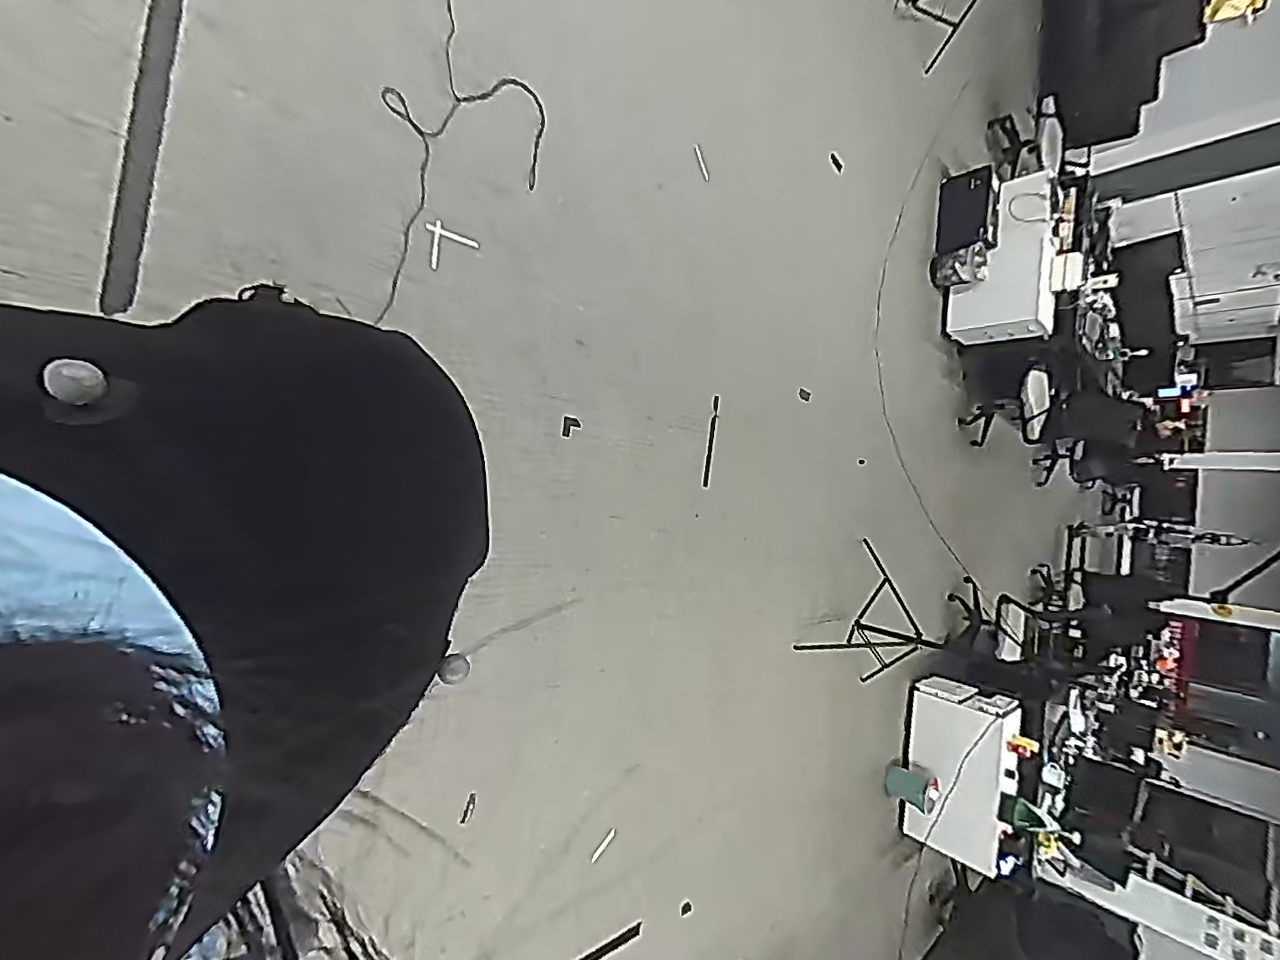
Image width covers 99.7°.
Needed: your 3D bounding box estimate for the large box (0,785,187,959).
[{"bbox_3d":[-0.959,0.718,0.805,0.408,0.320,0.320,12,83,-41],"label":"large box"}]
